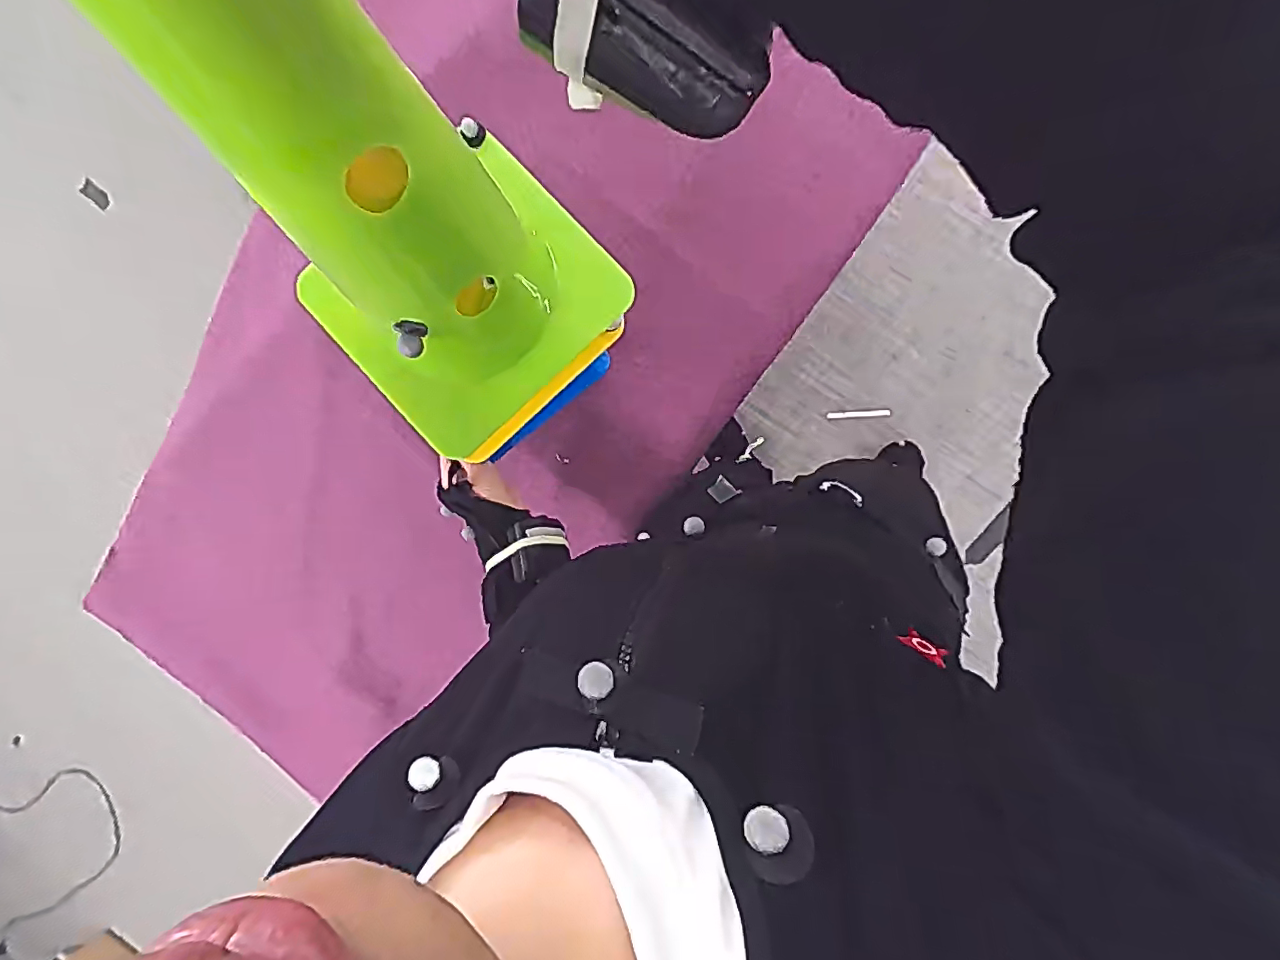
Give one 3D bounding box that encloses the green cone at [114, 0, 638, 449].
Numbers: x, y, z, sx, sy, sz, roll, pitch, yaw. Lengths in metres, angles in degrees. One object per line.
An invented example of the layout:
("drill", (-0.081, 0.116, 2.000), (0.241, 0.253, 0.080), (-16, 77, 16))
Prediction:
("green cone", (-0.133, -0.160, 0.231), (0.200, 0.368, 0.202), (-44, 87, -1))
